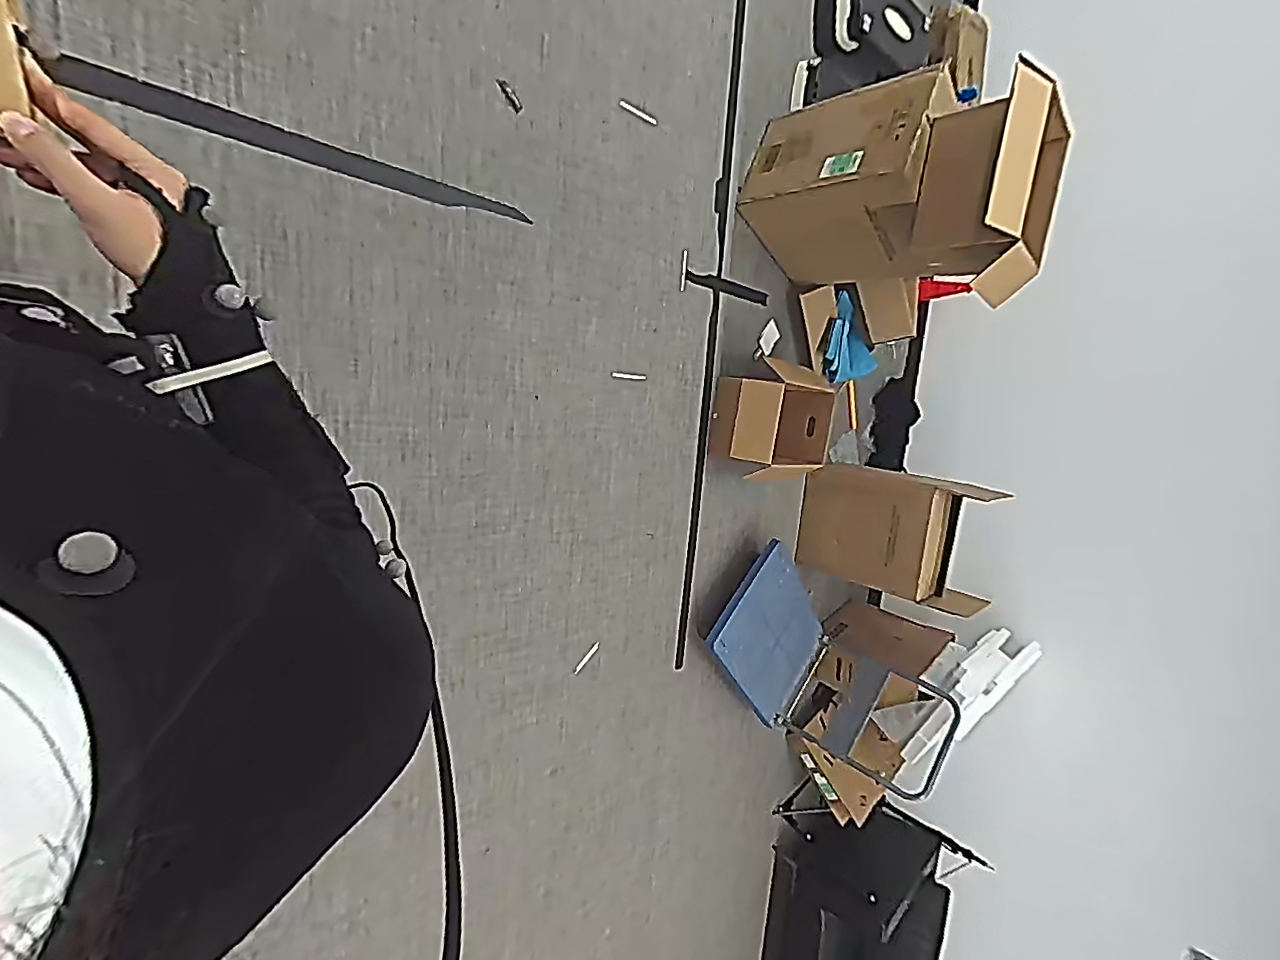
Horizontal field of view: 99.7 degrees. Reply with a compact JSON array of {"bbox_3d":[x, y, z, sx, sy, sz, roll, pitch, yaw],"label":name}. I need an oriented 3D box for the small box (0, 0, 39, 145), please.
[{"bbox_3d":[-0.436,-0.280,0.264,0.179,0.176,0.168,-9,117,-42],"label":"small box"}]
